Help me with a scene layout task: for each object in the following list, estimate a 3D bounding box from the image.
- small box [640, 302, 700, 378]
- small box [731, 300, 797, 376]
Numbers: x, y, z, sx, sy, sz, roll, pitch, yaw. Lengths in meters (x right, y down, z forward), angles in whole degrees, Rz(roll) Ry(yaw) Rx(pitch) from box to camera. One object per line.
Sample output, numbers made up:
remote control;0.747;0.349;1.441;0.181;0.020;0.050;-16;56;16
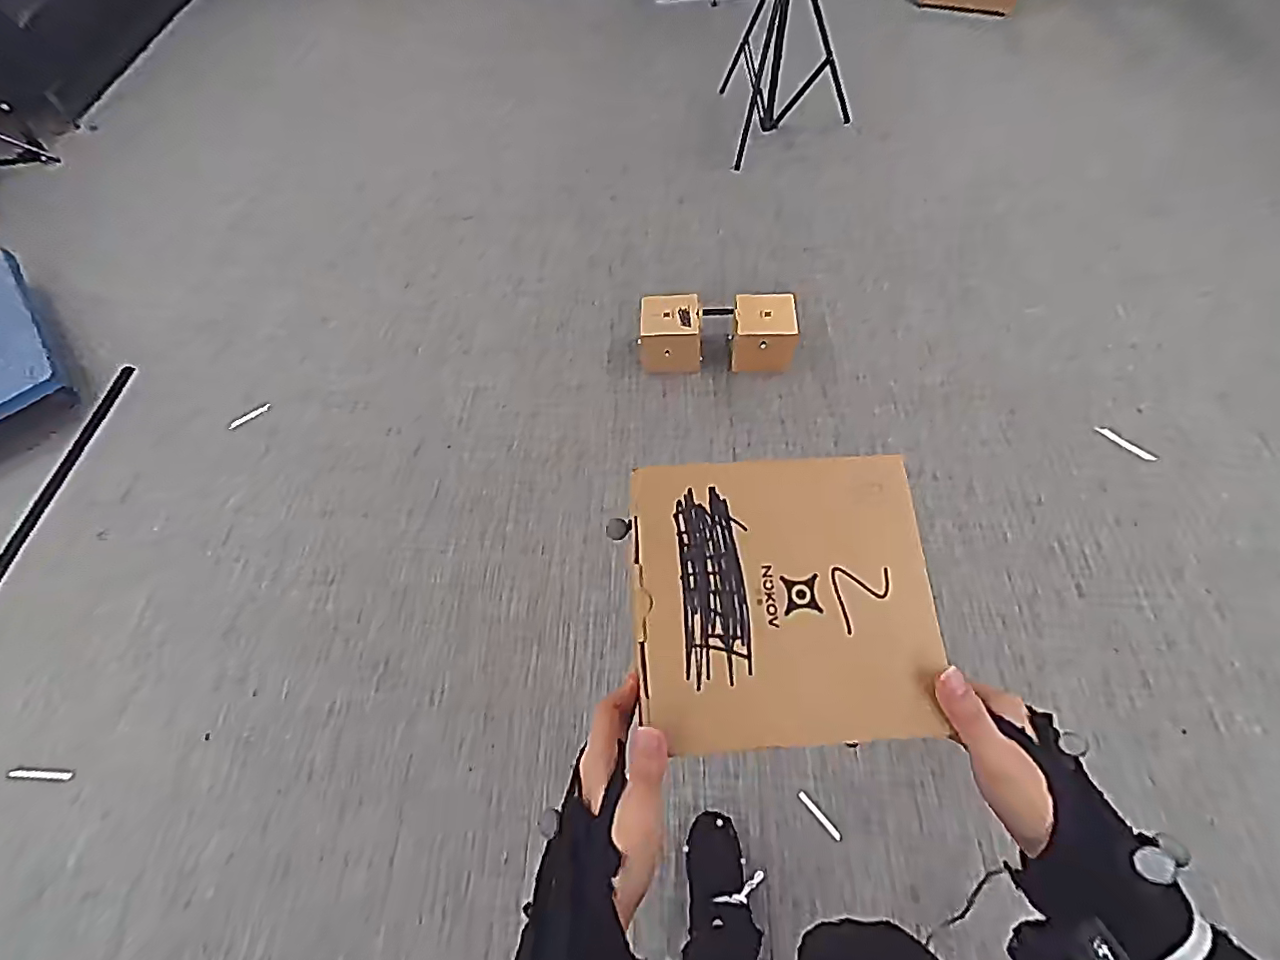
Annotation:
small box;0.096;-0.437;1.700;0.179;0.176;0.168;-1;60;5
small box;0.380;-0.437;1.682;0.179;0.176;0.168;0;61;5
